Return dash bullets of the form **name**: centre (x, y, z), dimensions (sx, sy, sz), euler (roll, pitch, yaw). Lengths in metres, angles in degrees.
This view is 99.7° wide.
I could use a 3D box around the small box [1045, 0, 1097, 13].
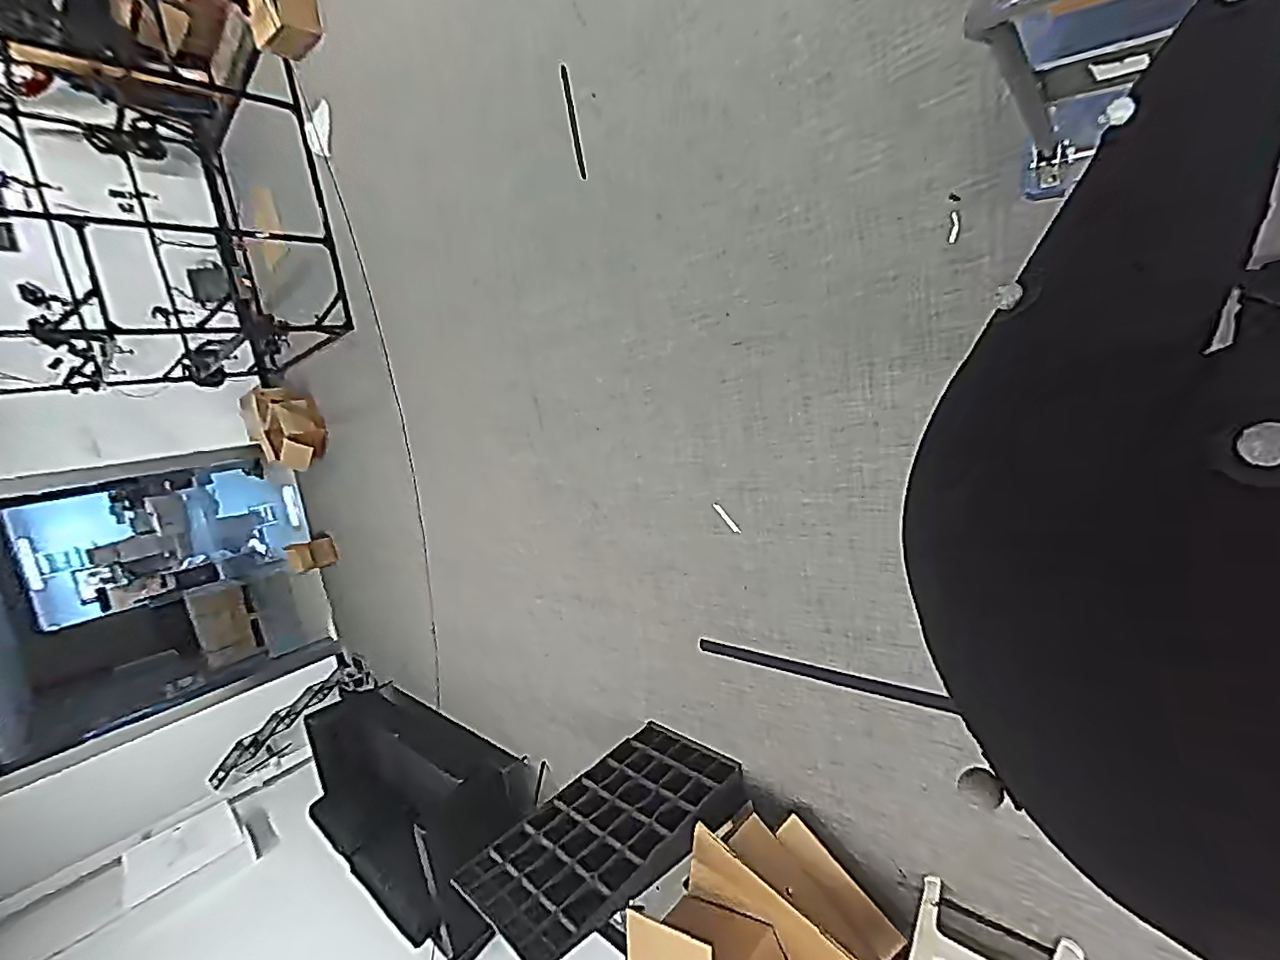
- **small box**: centre (0.719, -0.849, 0.806), dimensions (0.179, 0.176, 0.168), euler (13, 111, 39)
